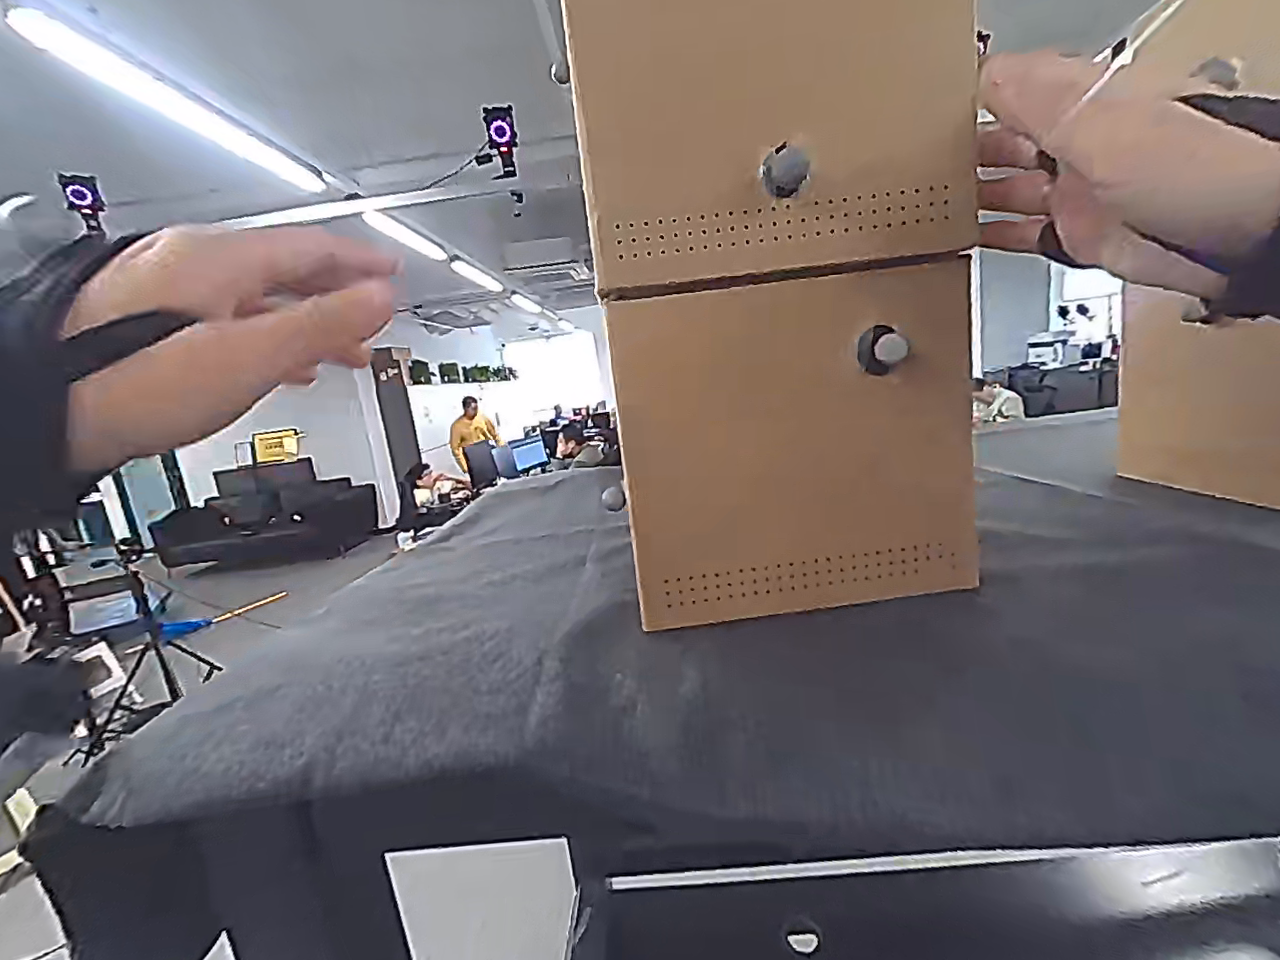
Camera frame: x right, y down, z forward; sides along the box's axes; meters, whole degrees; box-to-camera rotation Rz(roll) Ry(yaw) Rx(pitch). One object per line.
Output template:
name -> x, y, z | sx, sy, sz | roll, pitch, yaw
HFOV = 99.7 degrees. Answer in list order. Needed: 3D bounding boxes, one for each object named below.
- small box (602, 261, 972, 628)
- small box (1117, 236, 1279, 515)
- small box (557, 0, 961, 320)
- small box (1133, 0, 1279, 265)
small box -> 0.075, -0.024, 0.341 | 0.179, 0.176, 0.168 | -8, 9, -1
small box -> 0.456, -0.073, 0.342 | 0.168, 0.176, 0.179 | -6, 9, 6
small box -> 0.055, -0.184, 0.309 | 0.179, 0.176, 0.168 | -6, 9, 0
small box -> 0.432, -0.232, 0.306 | 0.179, 0.176, 0.168 | -8, 8, 7
